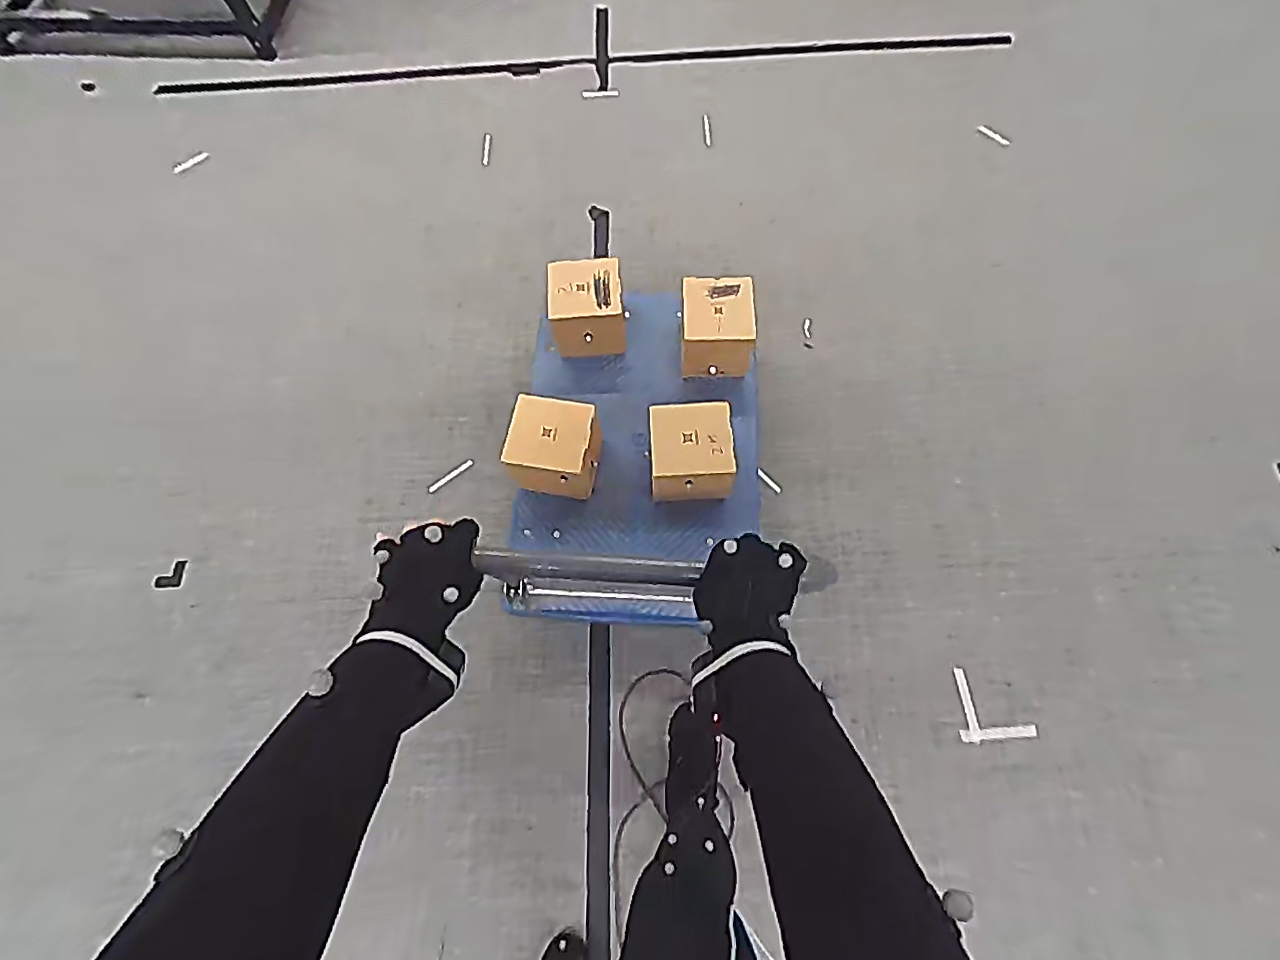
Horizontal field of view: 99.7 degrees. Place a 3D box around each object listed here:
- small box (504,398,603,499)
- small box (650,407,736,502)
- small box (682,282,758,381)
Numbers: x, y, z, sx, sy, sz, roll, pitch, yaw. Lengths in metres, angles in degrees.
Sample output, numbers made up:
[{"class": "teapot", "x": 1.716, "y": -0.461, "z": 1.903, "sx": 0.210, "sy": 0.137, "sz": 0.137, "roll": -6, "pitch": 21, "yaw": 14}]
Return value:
[{"class": "small box", "x": -0.188, "y": -0.067, "z": 1.236, "sx": 0.179, "sy": 0.176, "sz": 0.168, "roll": 9, "pitch": 70, "yaw": 4}, {"class": "small box", "x": 0.115, "y": -0.052, "z": 1.222, "sx": 0.179, "sy": 0.176, "sz": 0.168, "roll": -2, "pitch": 70, "yaw": 1}, {"class": "small box", "x": 0.191, "y": -0.364, "z": 1.335, "sx": 0.168, "sy": 0.176, "sz": 0.179, "roll": 0, "pitch": 71, "yaw": 2}]
